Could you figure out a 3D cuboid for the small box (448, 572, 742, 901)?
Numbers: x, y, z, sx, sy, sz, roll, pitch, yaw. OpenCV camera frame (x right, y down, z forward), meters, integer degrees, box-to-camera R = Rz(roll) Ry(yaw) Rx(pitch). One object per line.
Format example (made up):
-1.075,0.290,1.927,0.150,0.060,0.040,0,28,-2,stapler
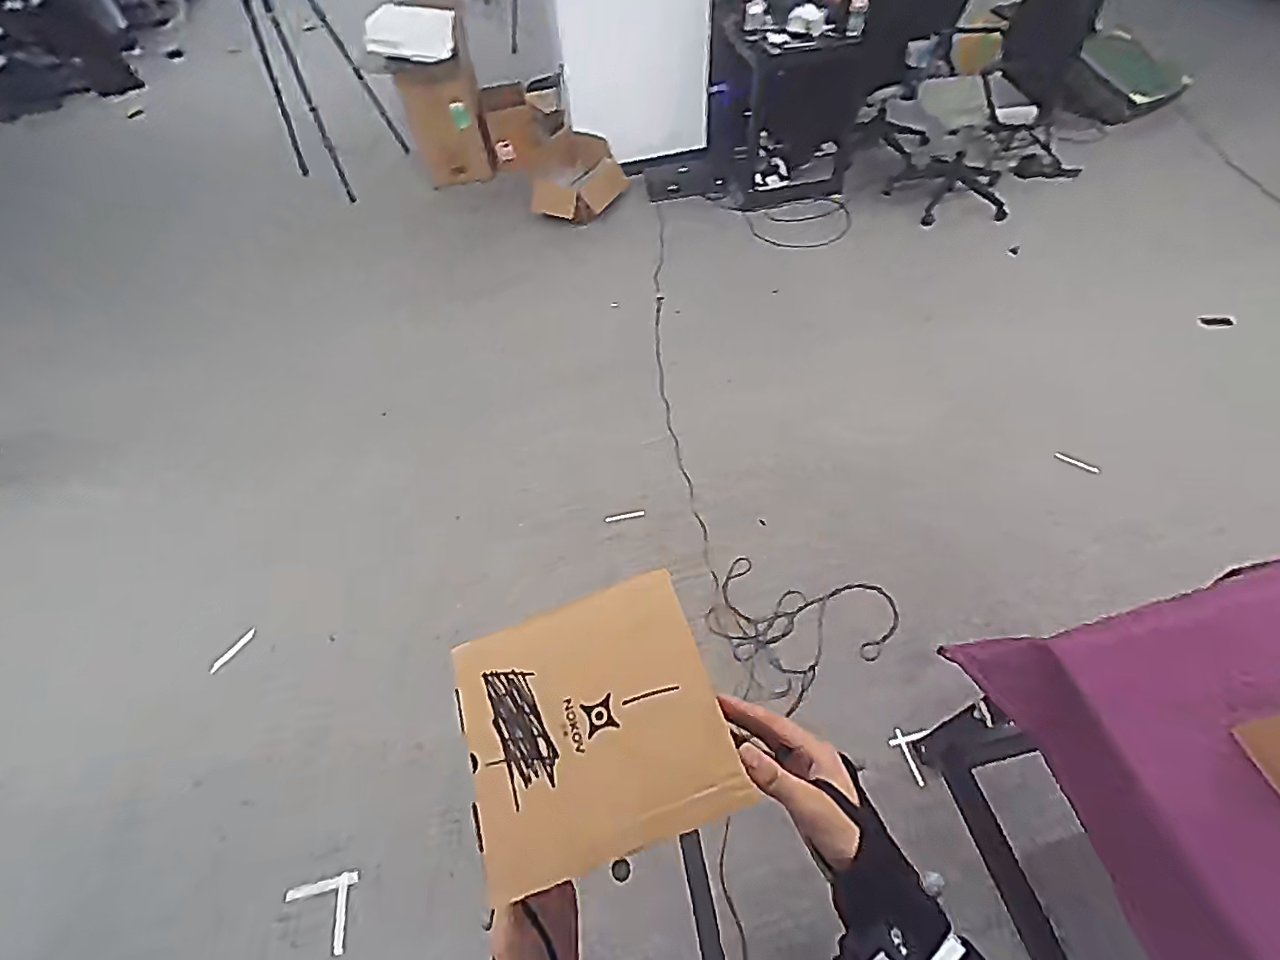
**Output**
-0.028,0.203,0.442,0.179,0.176,0.168,-21,61,-3,small box
